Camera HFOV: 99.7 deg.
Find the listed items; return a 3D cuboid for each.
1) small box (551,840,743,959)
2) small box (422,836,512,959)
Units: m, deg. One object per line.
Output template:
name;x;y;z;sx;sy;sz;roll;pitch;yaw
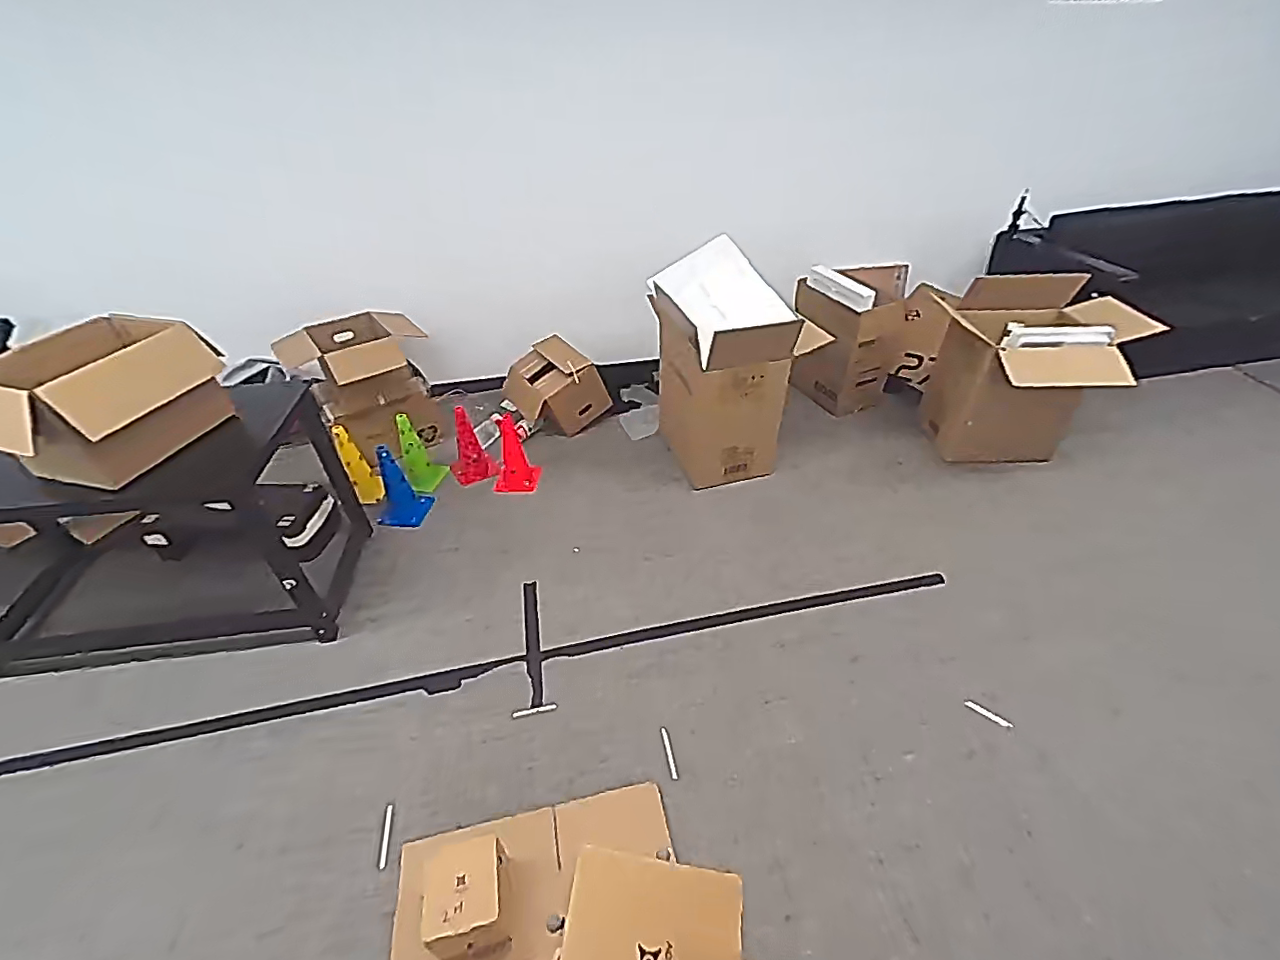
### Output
small box;-0.003;0.500;0.556;0.179;0.176;0.168;13;45;-2
small box;-0.400;0.981;1.270;0.168;0.176;0.179;-10;40;-9
